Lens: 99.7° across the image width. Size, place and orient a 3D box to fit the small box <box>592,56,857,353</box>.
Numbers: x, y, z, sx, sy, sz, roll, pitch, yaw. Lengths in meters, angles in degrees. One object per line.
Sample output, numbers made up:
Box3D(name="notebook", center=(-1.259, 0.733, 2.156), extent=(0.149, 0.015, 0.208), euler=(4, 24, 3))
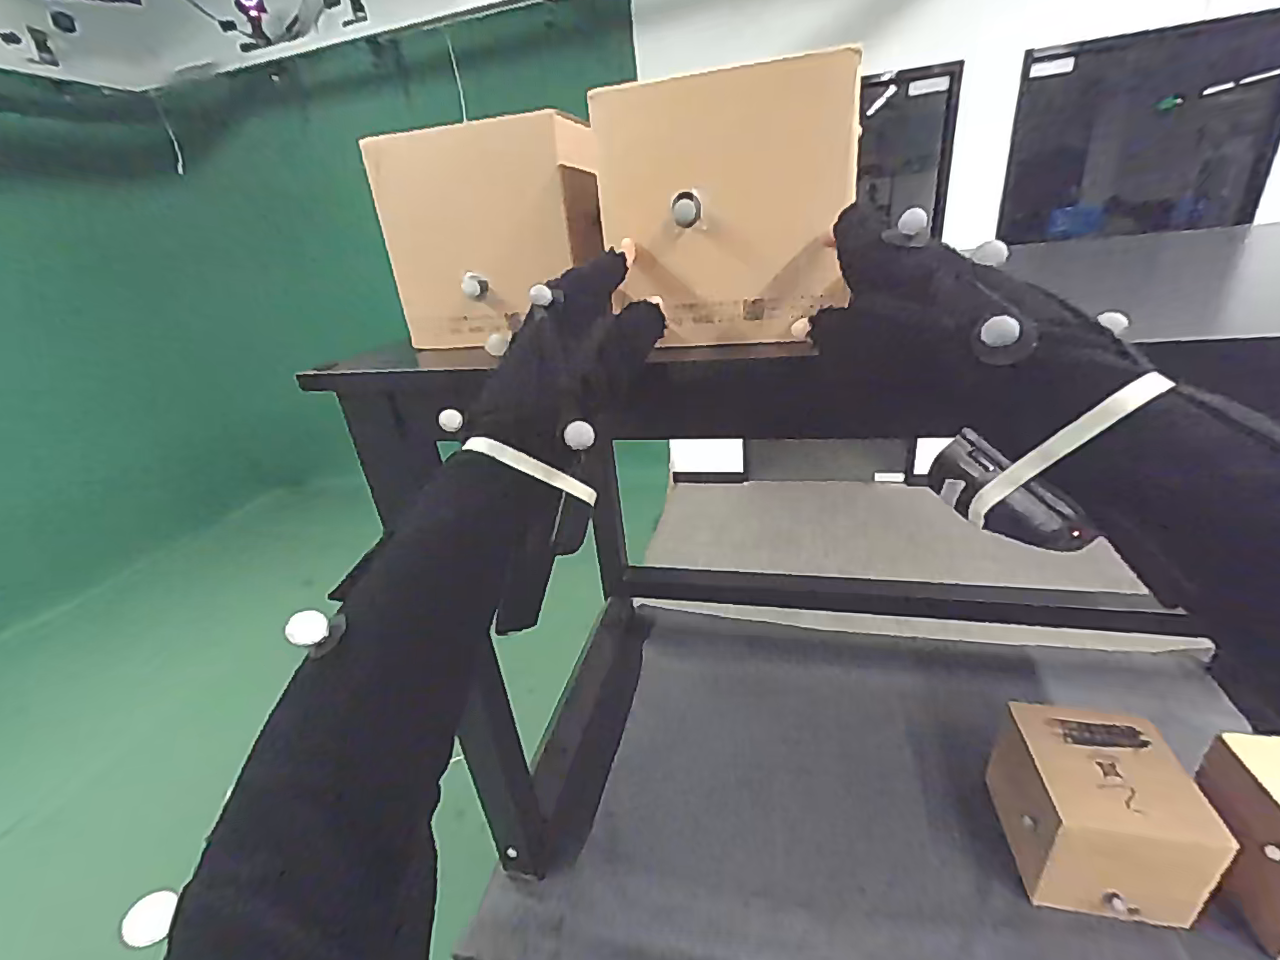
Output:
Box3D(name="small box", center=(0.076, -0.201, 0.432), extent=(0.168, 0.176, 0.179), euler=(1, 26, 15))

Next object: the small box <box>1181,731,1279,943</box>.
Box3D(name="small box", center=(0.802, 0.430, 0.630), extent=(0.168, 0.176, 0.179), euler=(0, 25, 14))

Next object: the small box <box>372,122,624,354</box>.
Box3D(name="small box", center=(-0.111, -0.223, 0.516), extent=(0.168, 0.176, 0.179), euler=(1, 27, 14))
